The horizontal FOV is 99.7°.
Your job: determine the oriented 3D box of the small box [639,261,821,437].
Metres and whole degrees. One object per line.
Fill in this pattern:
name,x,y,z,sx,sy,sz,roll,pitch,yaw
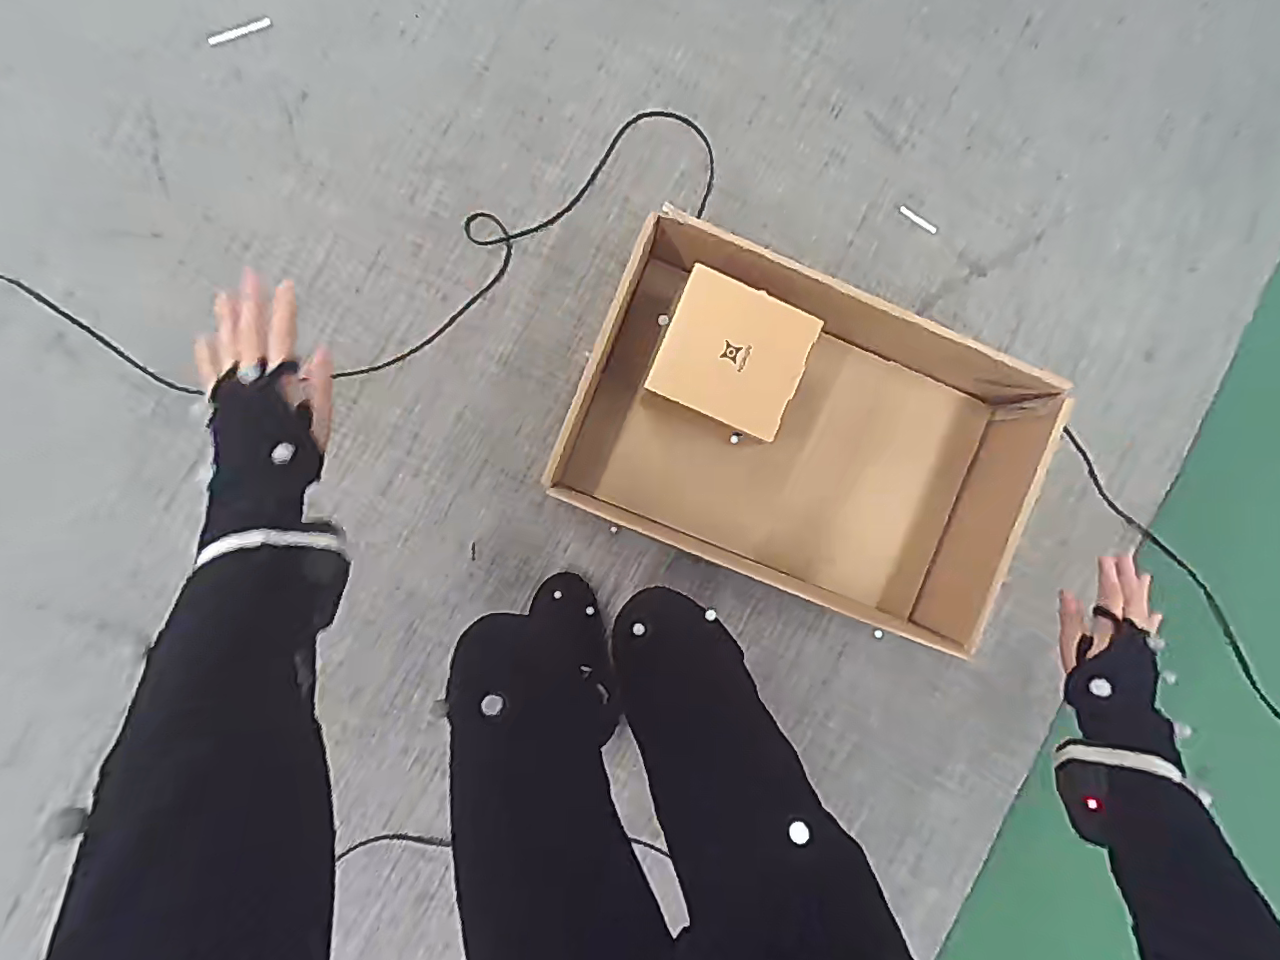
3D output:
small box,0.107,-0.161,0.736,0.179,0.176,0.168,22,91,-5
